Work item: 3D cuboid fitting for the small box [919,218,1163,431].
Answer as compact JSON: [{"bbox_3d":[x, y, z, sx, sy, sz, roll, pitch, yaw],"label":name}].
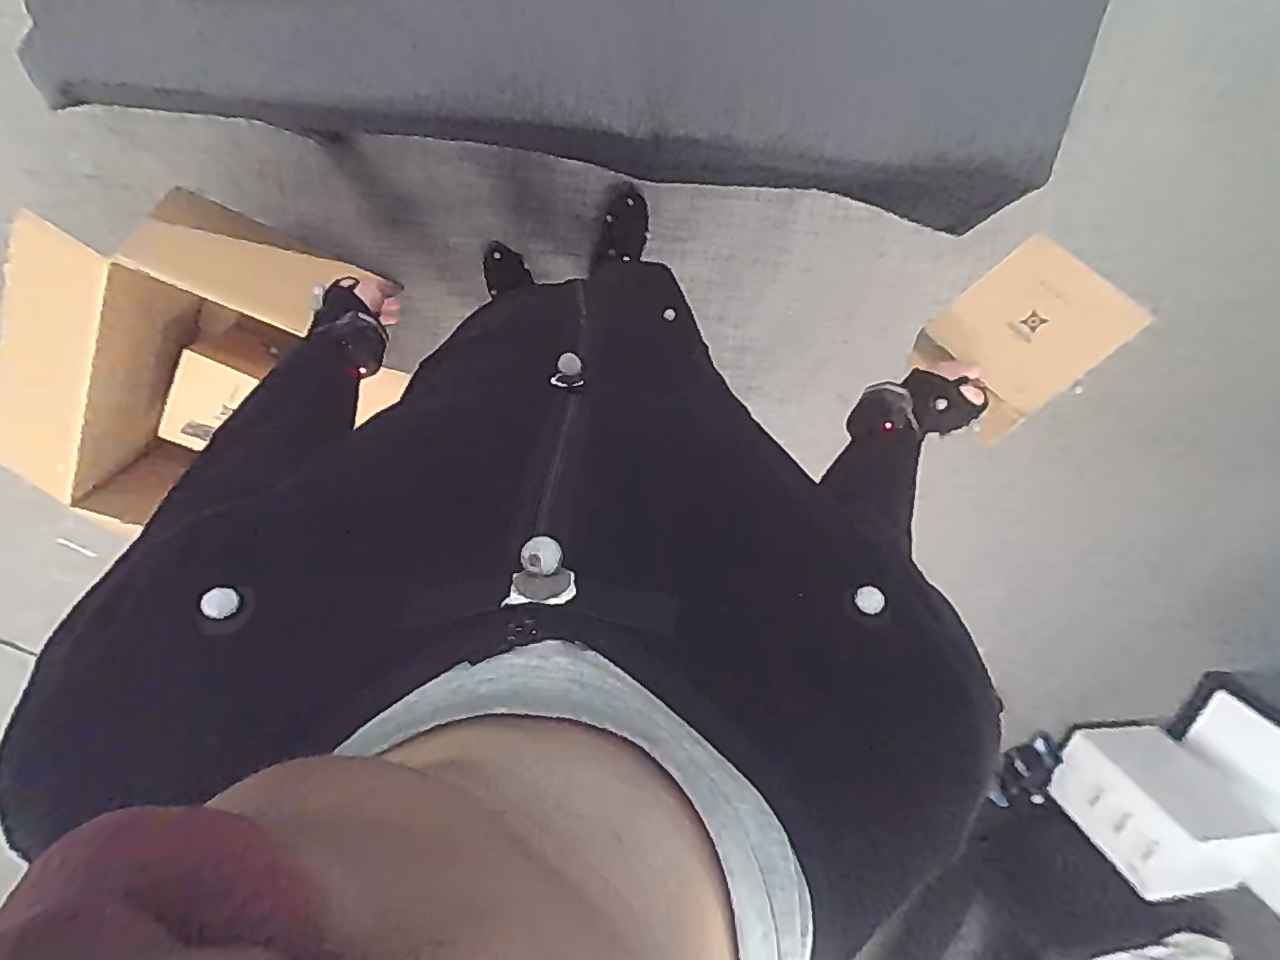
[{"bbox_3d":[0.493,-0.186,0.705,0.179,0.176,0.168,-42,72,10],"label":"small box"}]
